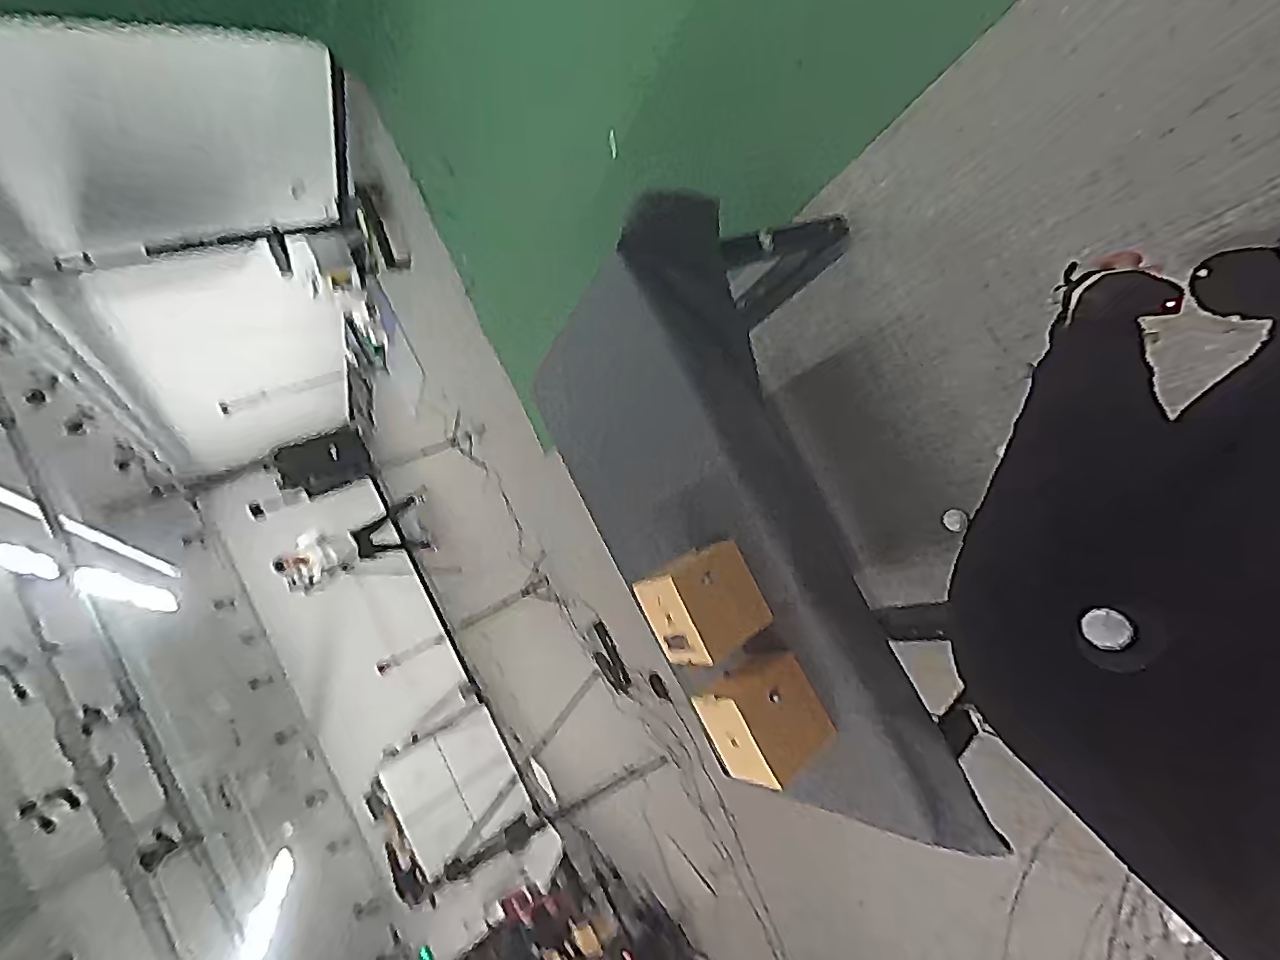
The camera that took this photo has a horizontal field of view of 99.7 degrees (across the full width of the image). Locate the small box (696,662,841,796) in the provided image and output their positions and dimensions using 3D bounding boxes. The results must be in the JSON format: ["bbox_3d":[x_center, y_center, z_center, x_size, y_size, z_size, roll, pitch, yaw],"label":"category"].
[{"bbox_3d":[0.247,0.469,1.051,0.179,0.176,0.168,60,150,7],"label":"small box"}]
